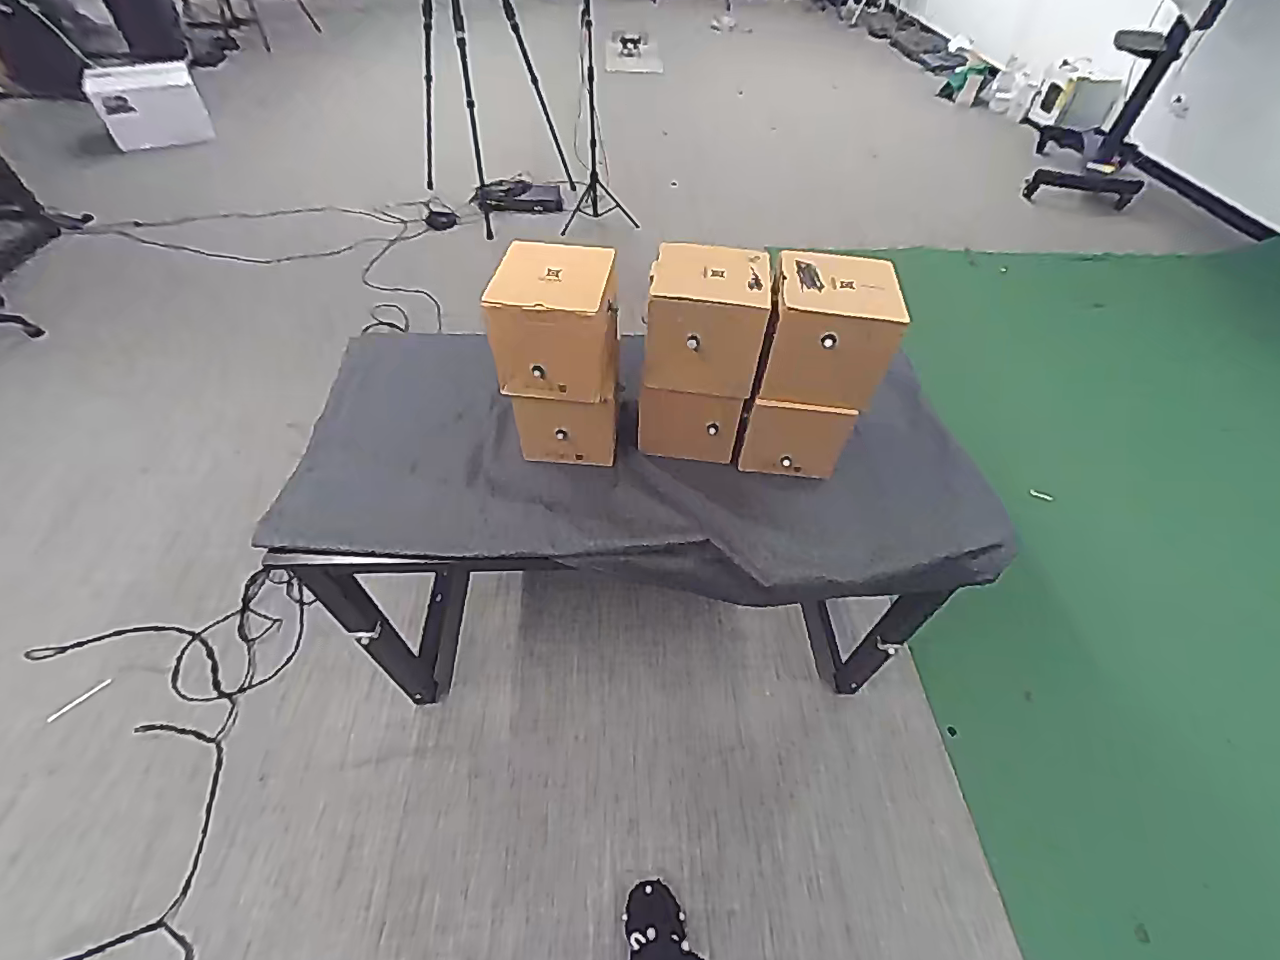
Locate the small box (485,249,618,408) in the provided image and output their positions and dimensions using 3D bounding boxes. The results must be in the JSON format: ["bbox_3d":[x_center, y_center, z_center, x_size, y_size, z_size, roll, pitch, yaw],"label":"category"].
[{"bbox_3d":[-0.129,-0.240,0.860,0.168,0.176,0.179,6,52,3],"label":"small box"}]
